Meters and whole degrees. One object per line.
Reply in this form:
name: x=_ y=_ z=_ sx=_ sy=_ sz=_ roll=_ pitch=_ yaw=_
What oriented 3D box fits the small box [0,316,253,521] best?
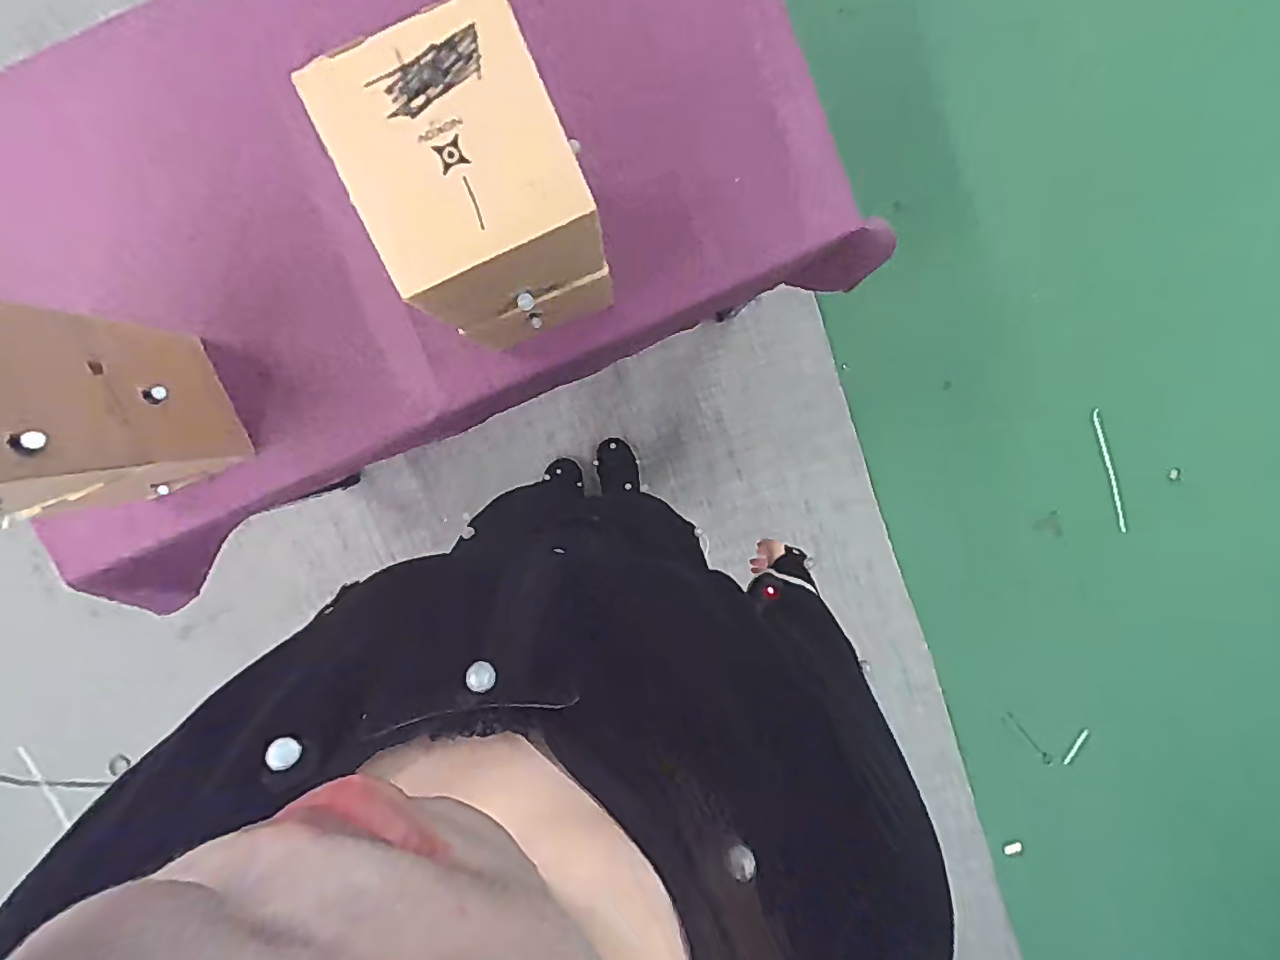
small box: x=-0.626 y=-0.072 z=0.650 sx=0.168 sy=0.176 sz=0.179 roll=-23 pitch=98 yaw=0

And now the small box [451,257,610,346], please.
small box: x=-0.143 y=-0.271 z=0.641 sx=0.179 sy=0.176 sz=0.168 roll=-22 pitch=98 yaw=1

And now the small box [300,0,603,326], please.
small box: x=-0.141 y=-0.257 z=0.477 sx=0.168 sy=0.176 sz=0.179 roll=-25 pitch=98 yaw=2
